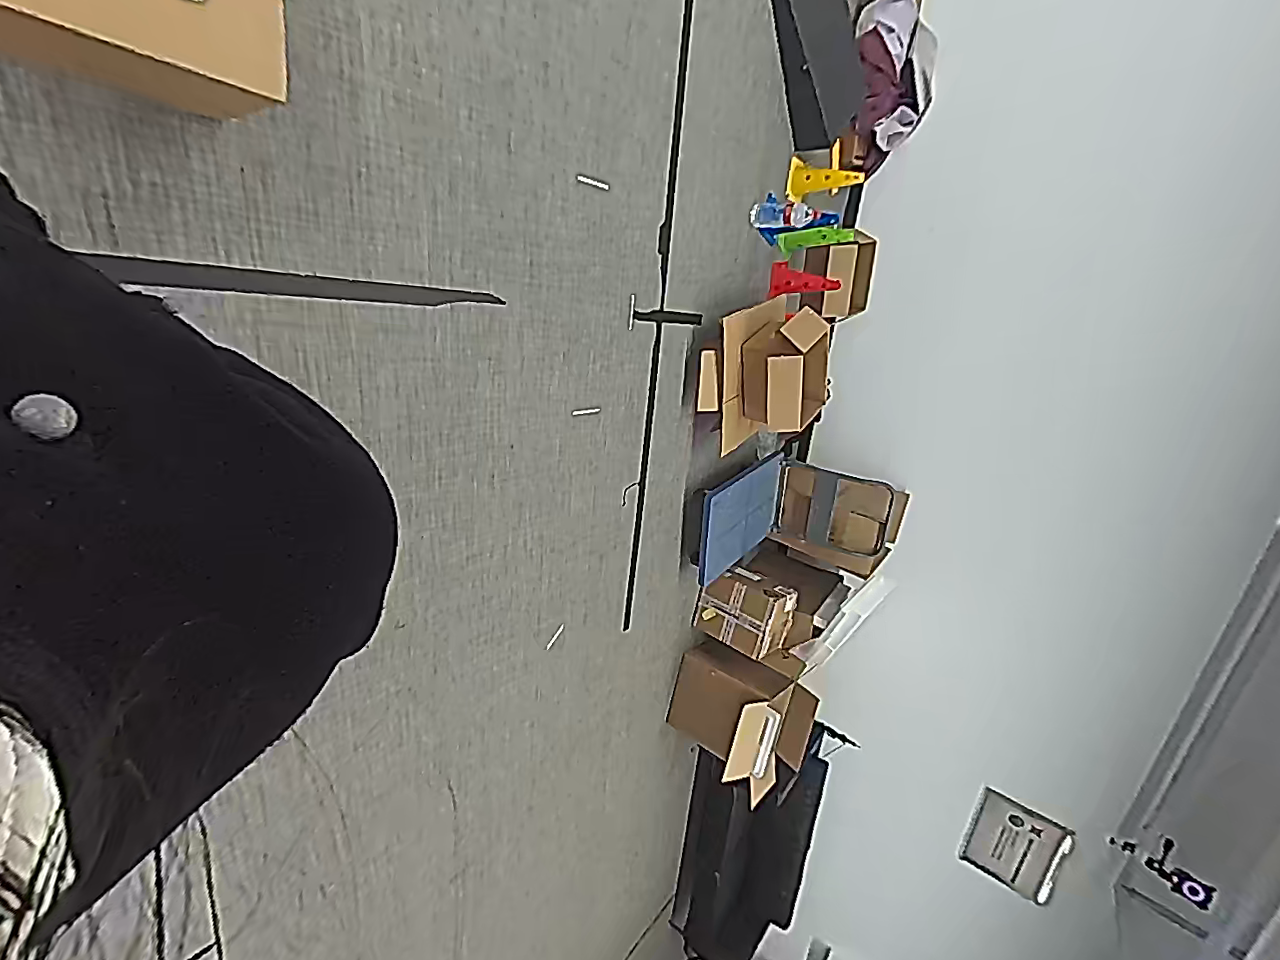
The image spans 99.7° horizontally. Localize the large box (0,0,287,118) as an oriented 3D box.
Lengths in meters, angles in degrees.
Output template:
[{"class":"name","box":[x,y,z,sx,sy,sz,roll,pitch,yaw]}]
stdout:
[{"class":"large box","box":[-0.820,-0.794,0.803,0.408,0.320,0.320,-14,118,-51]}]
